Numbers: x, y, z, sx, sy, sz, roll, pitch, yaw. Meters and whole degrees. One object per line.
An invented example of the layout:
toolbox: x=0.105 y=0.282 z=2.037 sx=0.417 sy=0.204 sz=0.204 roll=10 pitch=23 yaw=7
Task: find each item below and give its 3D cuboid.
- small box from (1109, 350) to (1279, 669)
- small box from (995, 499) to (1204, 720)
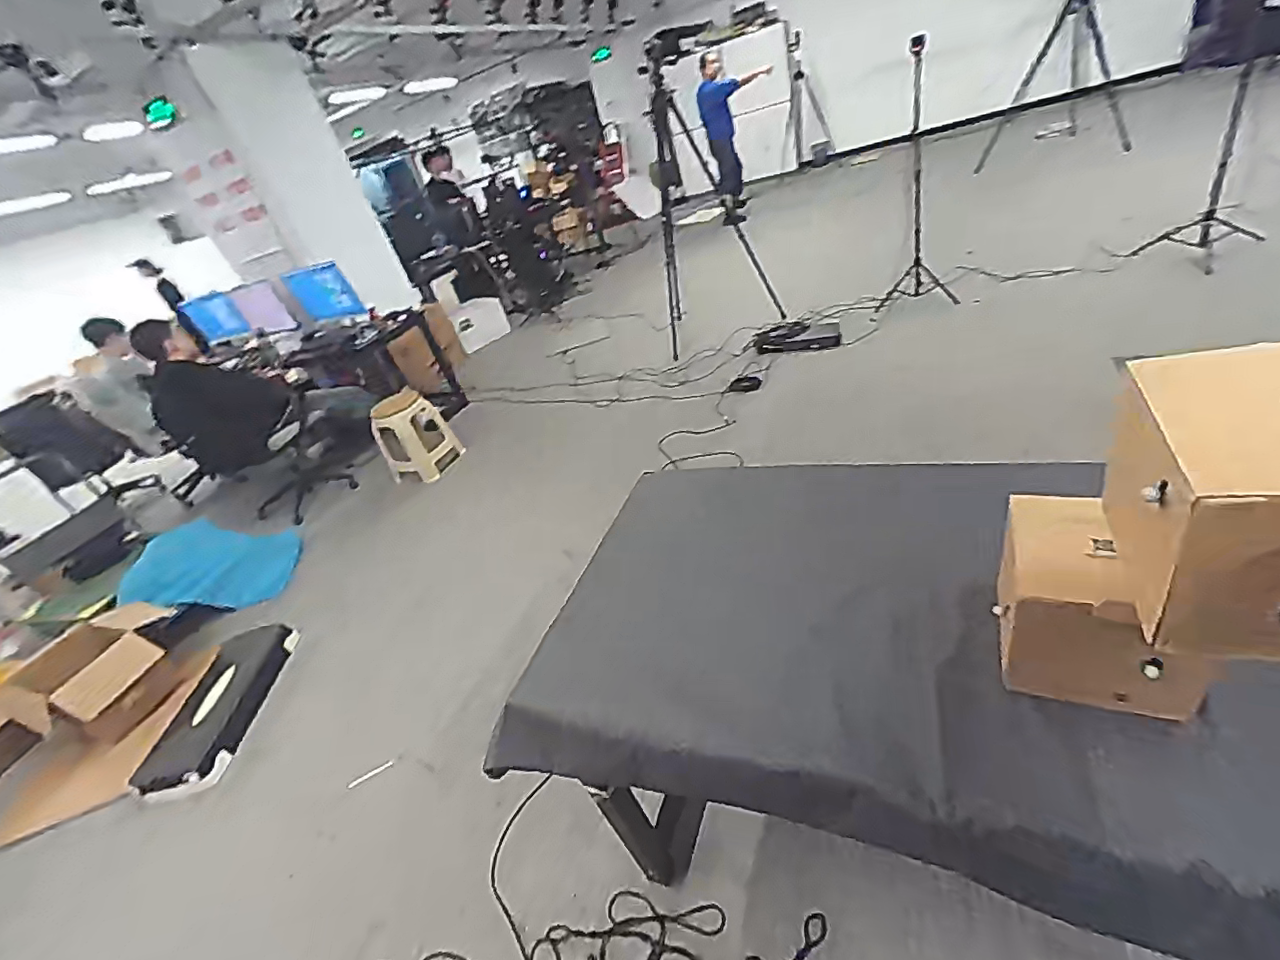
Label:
small box: x=0.475 y=0.019 z=0.394 sx=0.168 sy=0.176 sz=0.179 roll=-4 pitch=40 yaw=29
small box: x=0.518 y=0.143 z=0.626 sx=0.168 sy=0.176 sz=0.179 roll=3 pitch=37 yaw=29
